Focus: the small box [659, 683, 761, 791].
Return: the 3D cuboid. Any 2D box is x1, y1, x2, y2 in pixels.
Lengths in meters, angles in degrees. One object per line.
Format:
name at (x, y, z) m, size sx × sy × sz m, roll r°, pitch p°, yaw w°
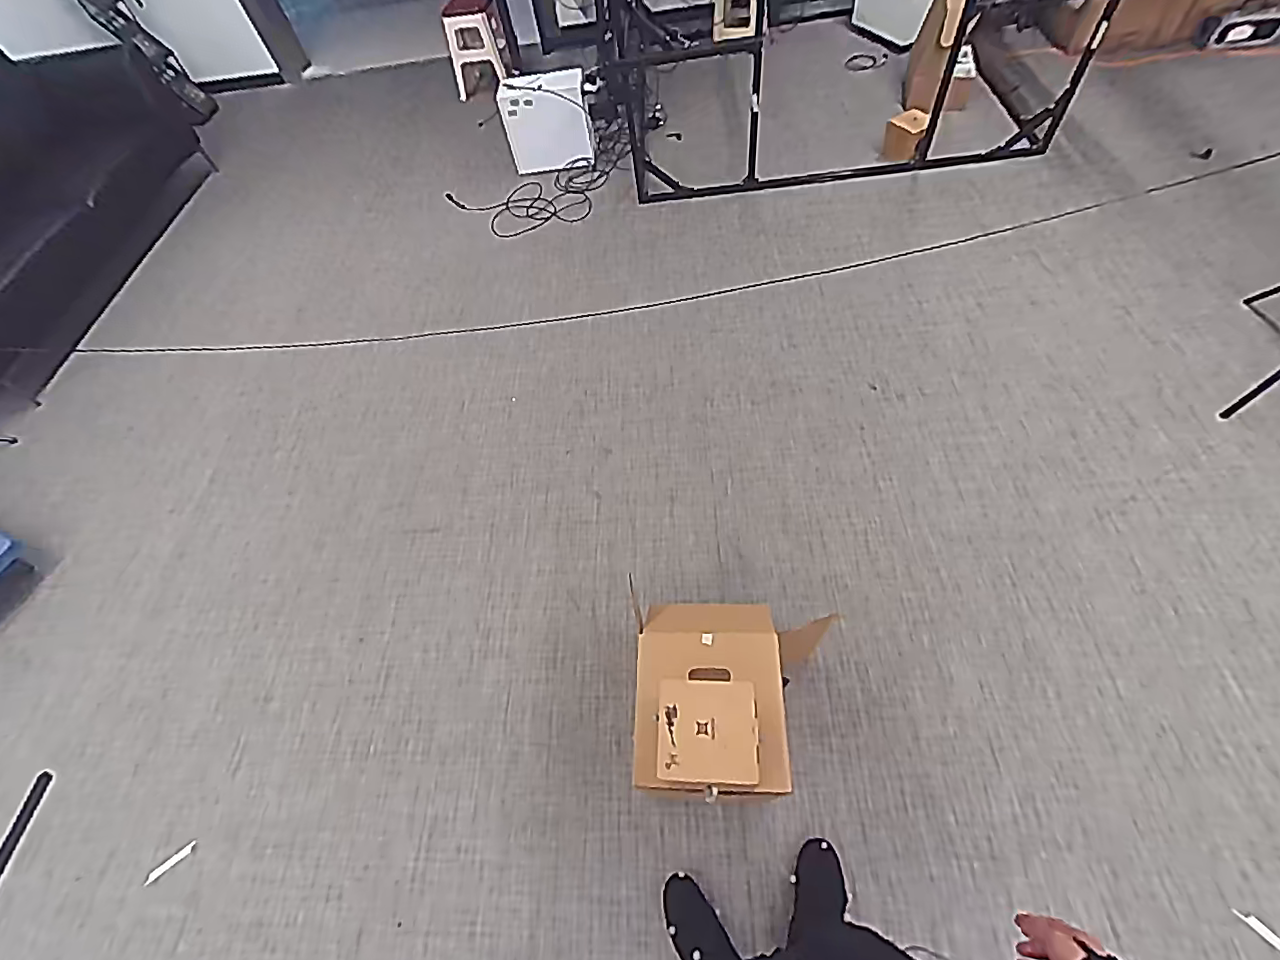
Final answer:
small box at (0.132, 0.492, 1.029) m, size 0.179 × 0.176 × 0.168 m, roll 0°, pitch 59°, yaw 8°
